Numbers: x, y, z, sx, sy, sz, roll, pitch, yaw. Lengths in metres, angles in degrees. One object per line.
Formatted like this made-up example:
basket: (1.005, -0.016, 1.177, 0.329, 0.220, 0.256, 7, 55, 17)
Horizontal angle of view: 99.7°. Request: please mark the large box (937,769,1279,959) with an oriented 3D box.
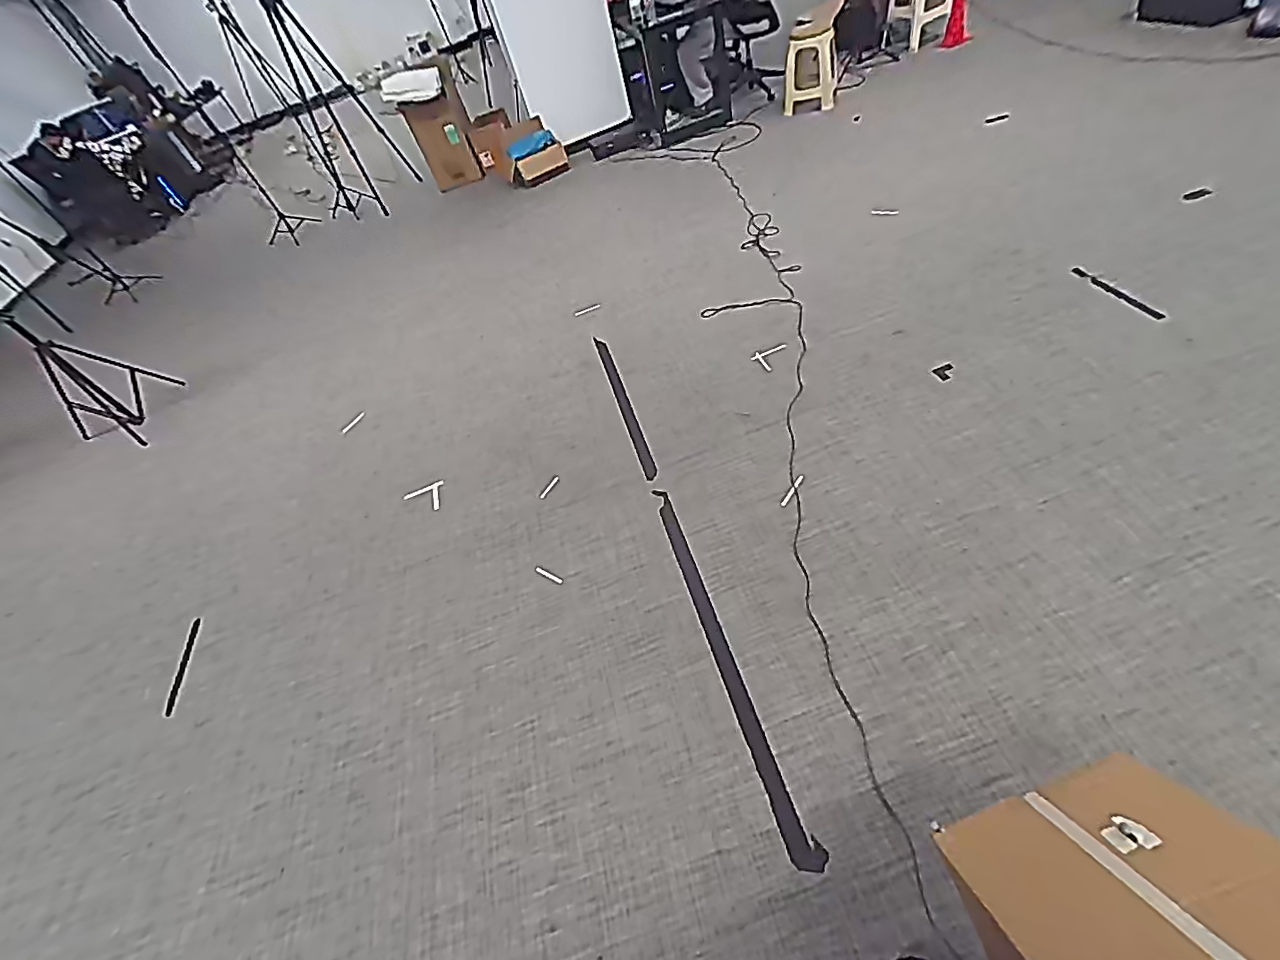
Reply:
large box: (0.637, 0.617, 0.608, 0.320, 0.408, 0.320, -23, 85, 2)
